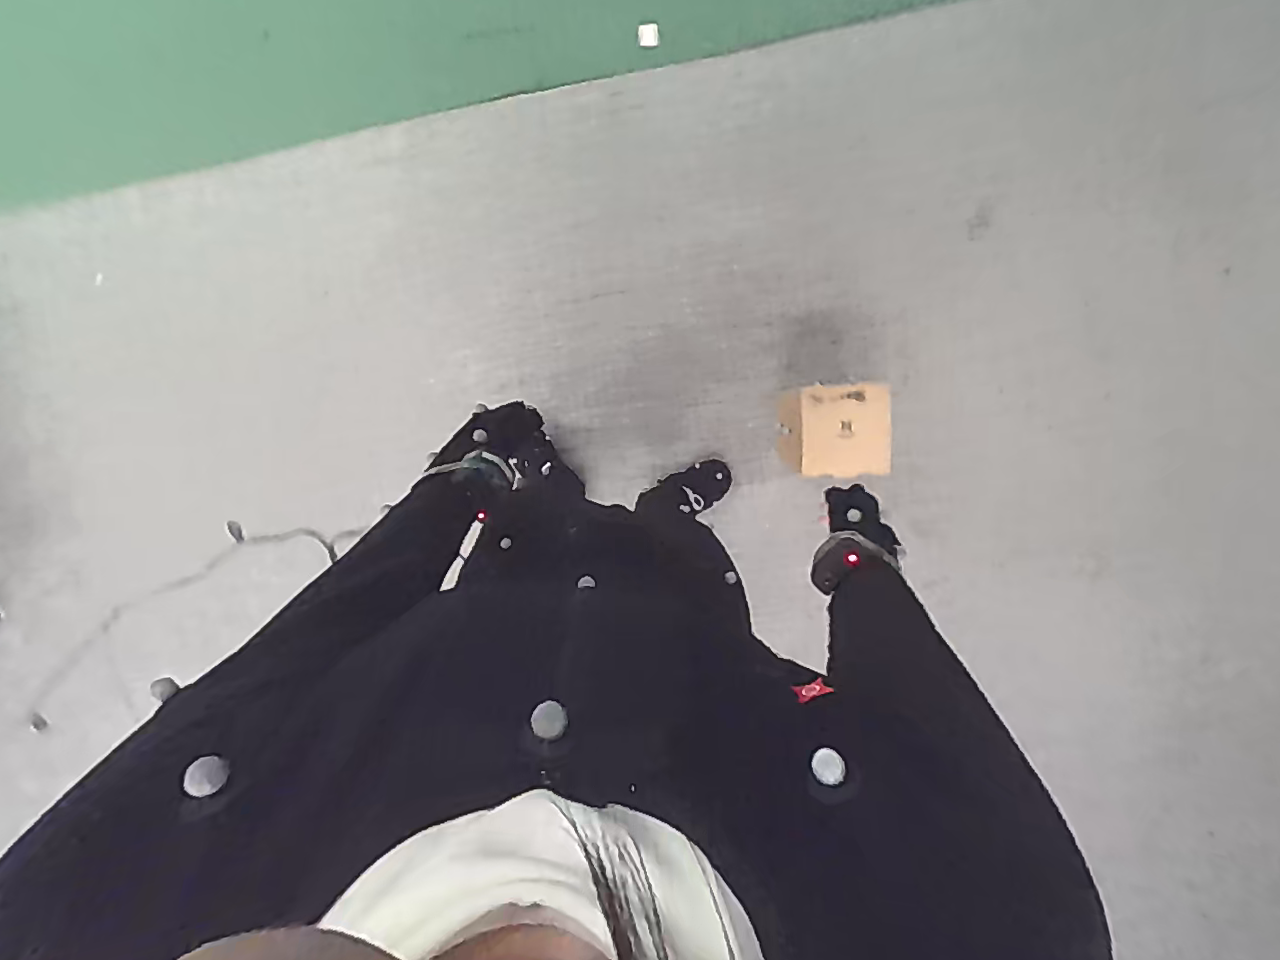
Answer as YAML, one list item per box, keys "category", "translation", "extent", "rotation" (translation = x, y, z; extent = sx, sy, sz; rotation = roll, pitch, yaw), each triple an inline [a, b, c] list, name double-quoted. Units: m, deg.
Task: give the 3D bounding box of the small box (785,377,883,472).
- category: "small box"
  translation: [0.394, -0.116, 1.117]
  extent: [0.168, 0.176, 0.179]
  rotation: [-3, 97, 9]

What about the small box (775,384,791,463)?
- category: "small box"
  translation: [0.414, -0.137, 1.276]
  extent: [0.168, 0.176, 0.179]
  rotation: [-1, 96, 6]
